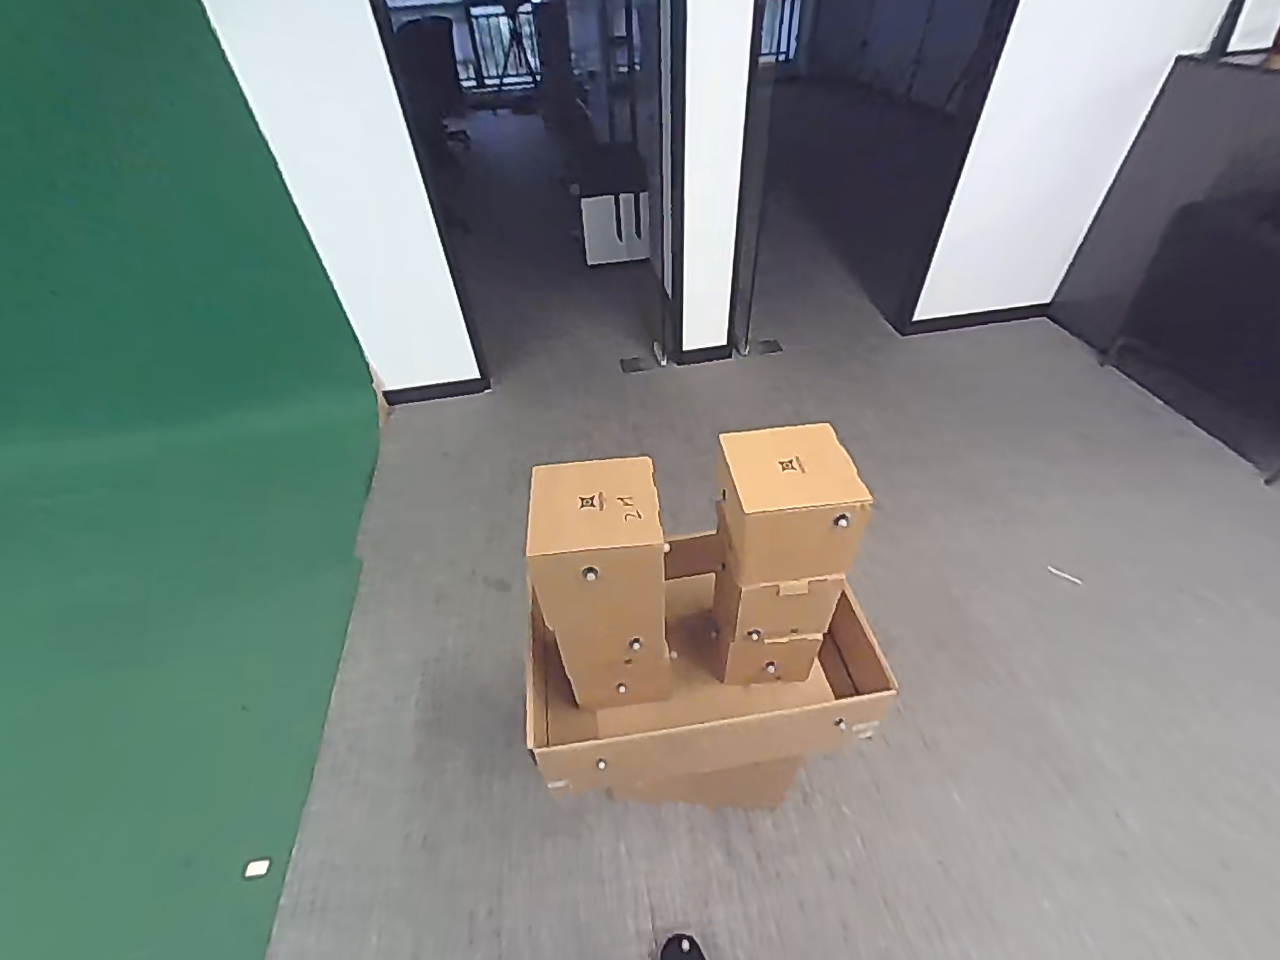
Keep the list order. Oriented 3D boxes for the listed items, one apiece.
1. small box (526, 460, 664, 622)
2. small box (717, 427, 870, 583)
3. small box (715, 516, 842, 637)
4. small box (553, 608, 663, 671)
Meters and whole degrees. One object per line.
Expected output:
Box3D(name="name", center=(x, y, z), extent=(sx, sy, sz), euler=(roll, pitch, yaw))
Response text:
Box3D(name="small box", center=(-0.059, 0.092, 0.785), extent=(0.179, 0.176, 0.168), euler=(-4, 45, -2))
Box3D(name="small box", center=(0.216, 0.042, 0.824), extent=(0.179, 0.176, 0.168), euler=(-6, 45, -3))
Box3D(name="small box", center=(0.227, 0.158, 0.937), extent=(0.168, 0.176, 0.179), euler=(-6, 44, -2))
Box3D(name="small box", center=(-0.054, 0.204, 0.906), extent=(0.168, 0.176, 0.179), euler=(-6, 44, -5))
